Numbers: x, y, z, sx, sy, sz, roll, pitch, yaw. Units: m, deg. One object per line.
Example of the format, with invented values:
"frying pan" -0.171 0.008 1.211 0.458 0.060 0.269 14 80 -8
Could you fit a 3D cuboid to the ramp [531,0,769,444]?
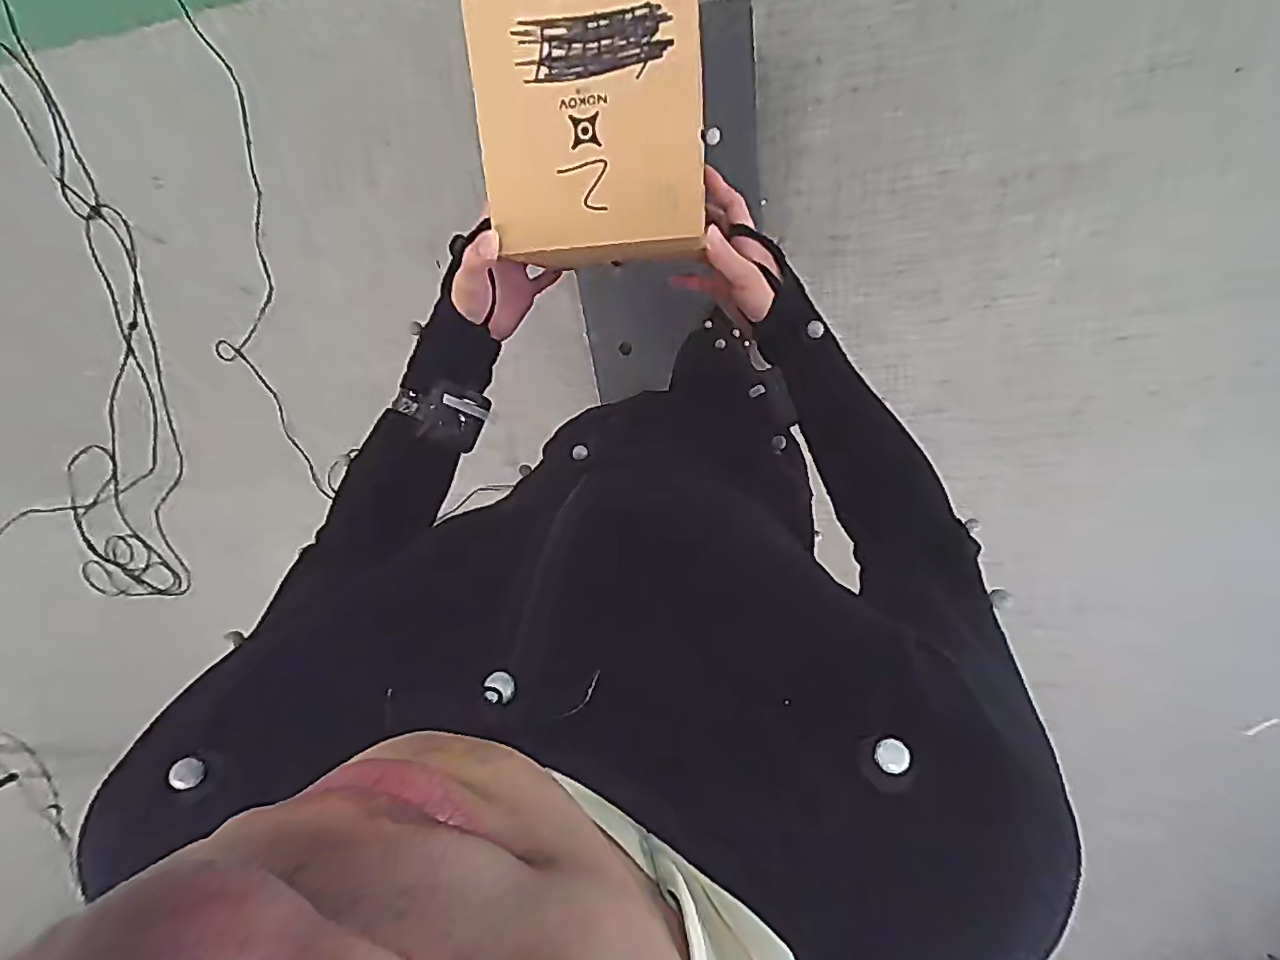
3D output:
"ramp" 0.069 -0.565 1.390 0.509 0.206 0.991 -6 108 10
